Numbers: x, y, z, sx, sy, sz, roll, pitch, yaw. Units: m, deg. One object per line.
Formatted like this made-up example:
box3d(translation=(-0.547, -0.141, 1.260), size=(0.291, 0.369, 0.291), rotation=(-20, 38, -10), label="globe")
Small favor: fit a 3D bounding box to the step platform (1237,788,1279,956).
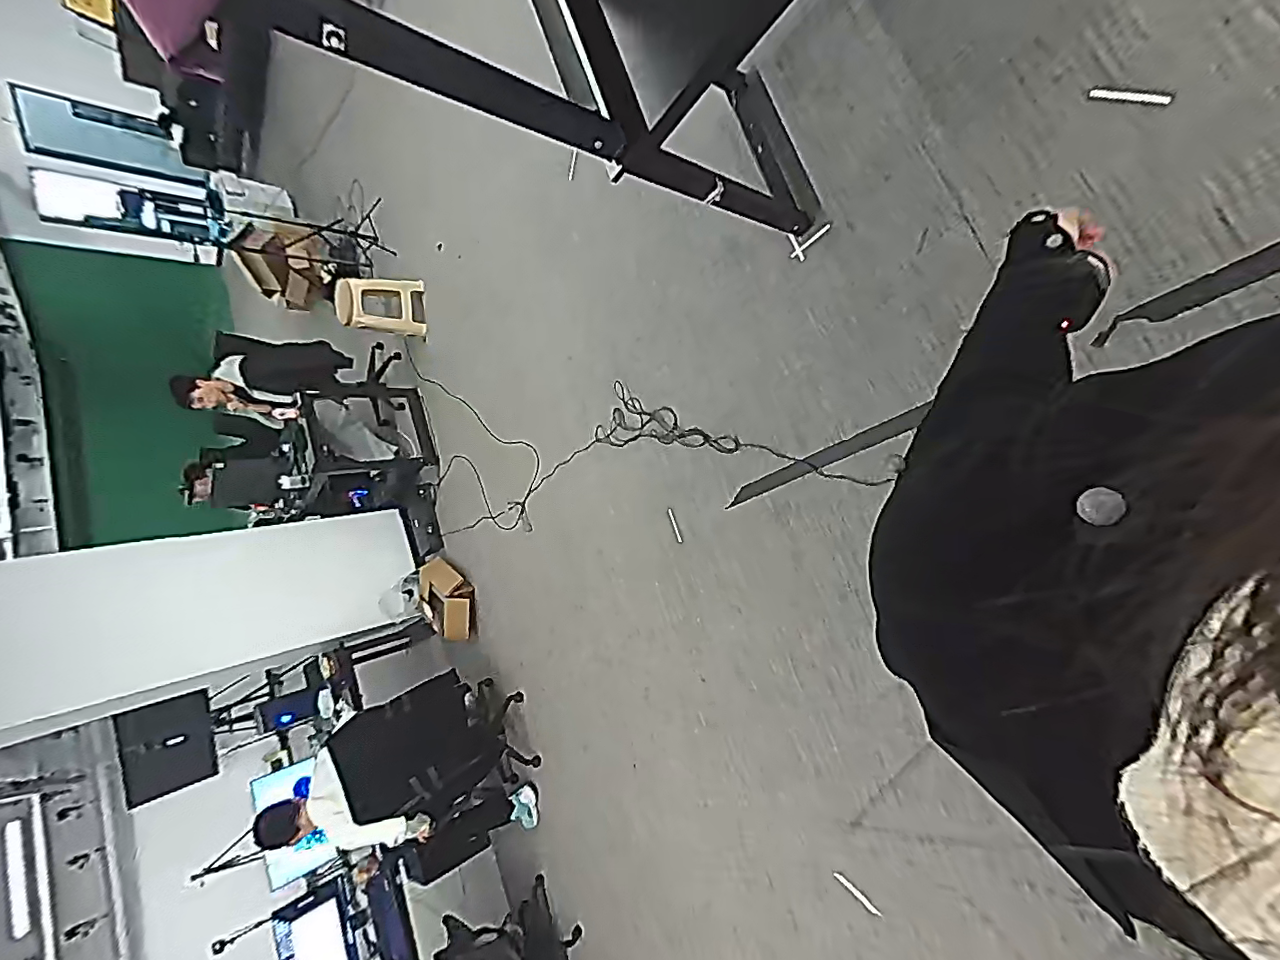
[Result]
box3d(translation=(1.340, 0.660, 0.745), size=(0.684, 0.204, 0.286), rotation=(-22, 80, 46), label="step platform")
